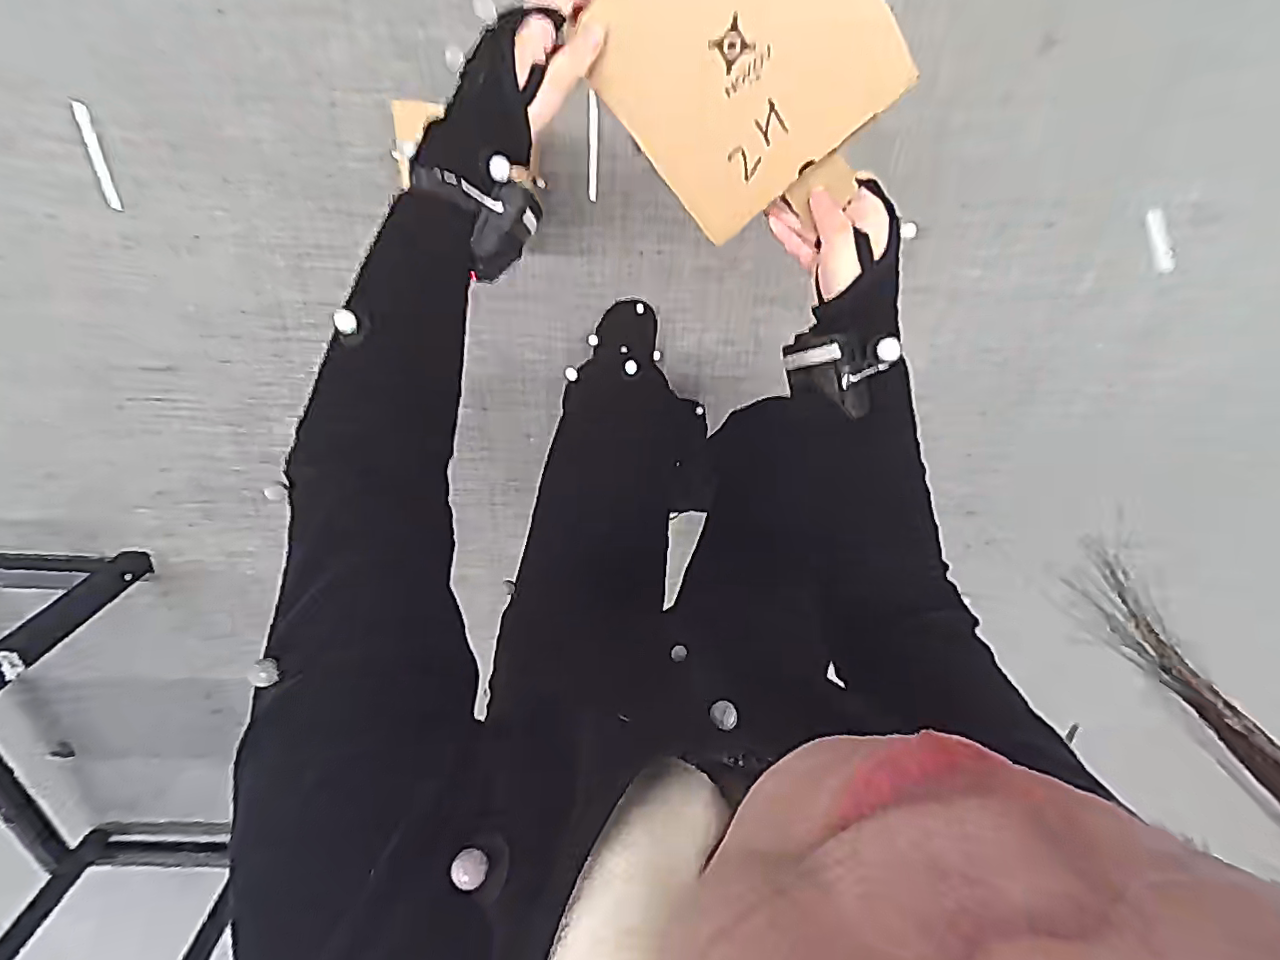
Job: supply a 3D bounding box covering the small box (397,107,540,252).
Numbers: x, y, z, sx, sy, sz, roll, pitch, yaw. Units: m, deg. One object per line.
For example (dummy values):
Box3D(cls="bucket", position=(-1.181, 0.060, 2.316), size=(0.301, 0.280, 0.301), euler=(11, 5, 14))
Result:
Box3D(cls="small box", position=(-0.248, -0.455, 0.829), size=(0.179, 0.176, 0.168), euler=(4, 118, -5))
